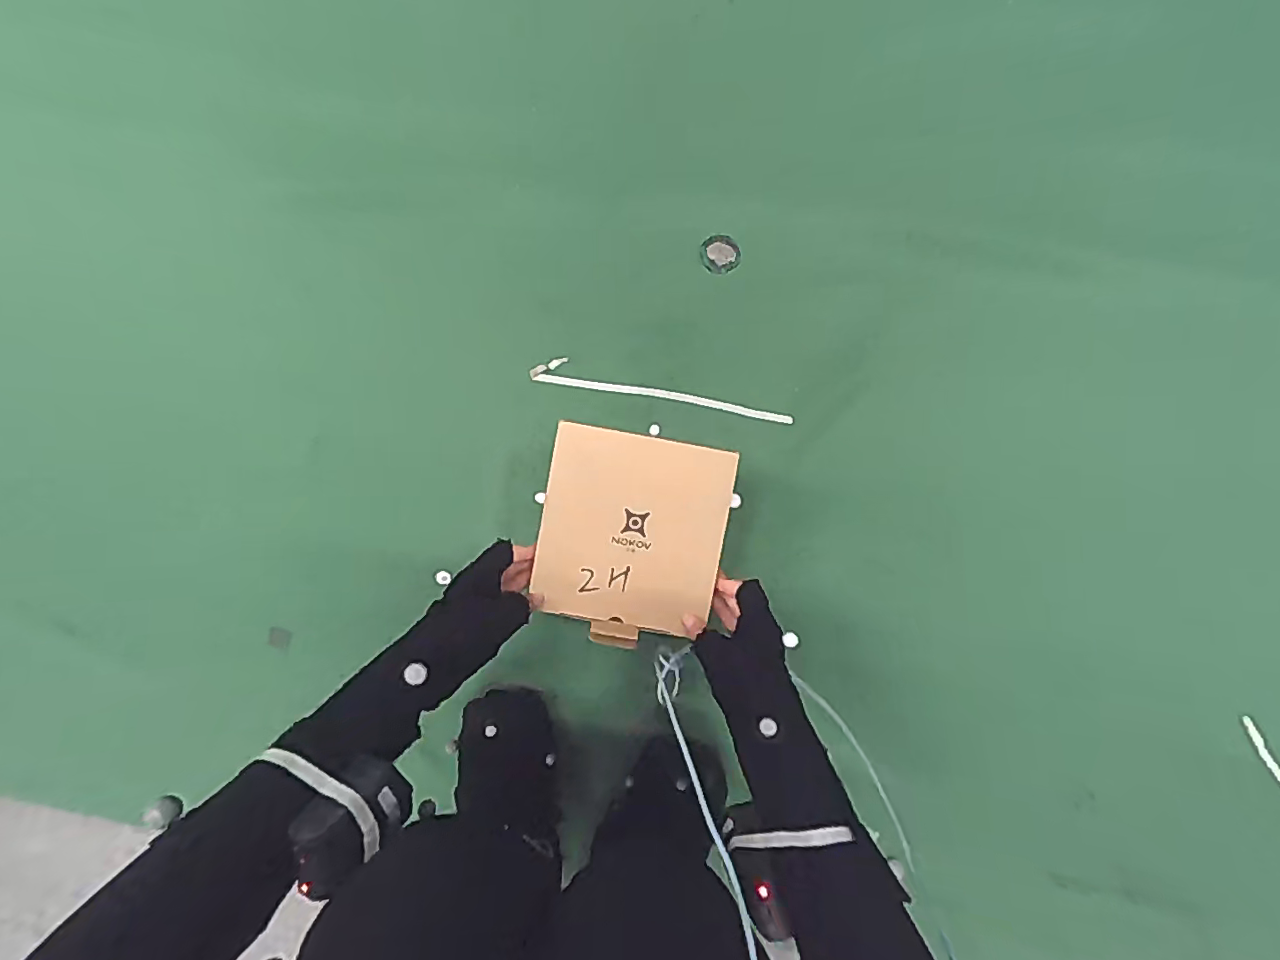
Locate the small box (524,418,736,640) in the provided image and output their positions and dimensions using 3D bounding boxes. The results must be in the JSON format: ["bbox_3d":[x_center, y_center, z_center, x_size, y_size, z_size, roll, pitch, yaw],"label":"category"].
[{"bbox_3d":[-0.010,0.042,0.564,0.168,0.176,0.179,11,92,0],"label":"small box"}]
